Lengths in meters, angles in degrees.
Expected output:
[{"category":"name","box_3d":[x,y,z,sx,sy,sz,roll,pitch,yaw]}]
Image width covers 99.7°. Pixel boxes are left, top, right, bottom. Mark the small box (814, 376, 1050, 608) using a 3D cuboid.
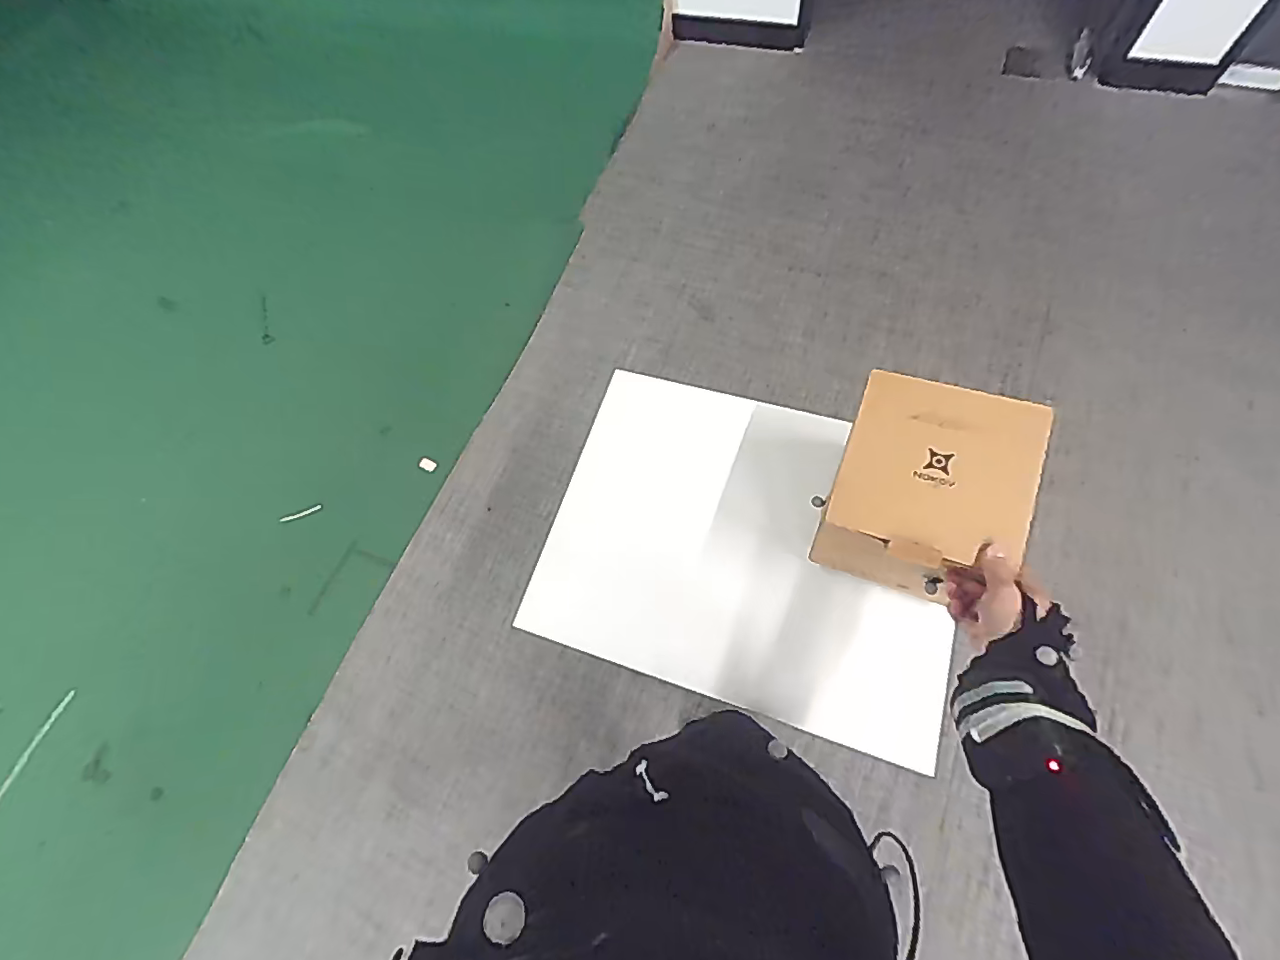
[{"category":"small box","box_3d":[0.293,0.021,0.577,0.168,0.176,0.179,18,73,18]}]
